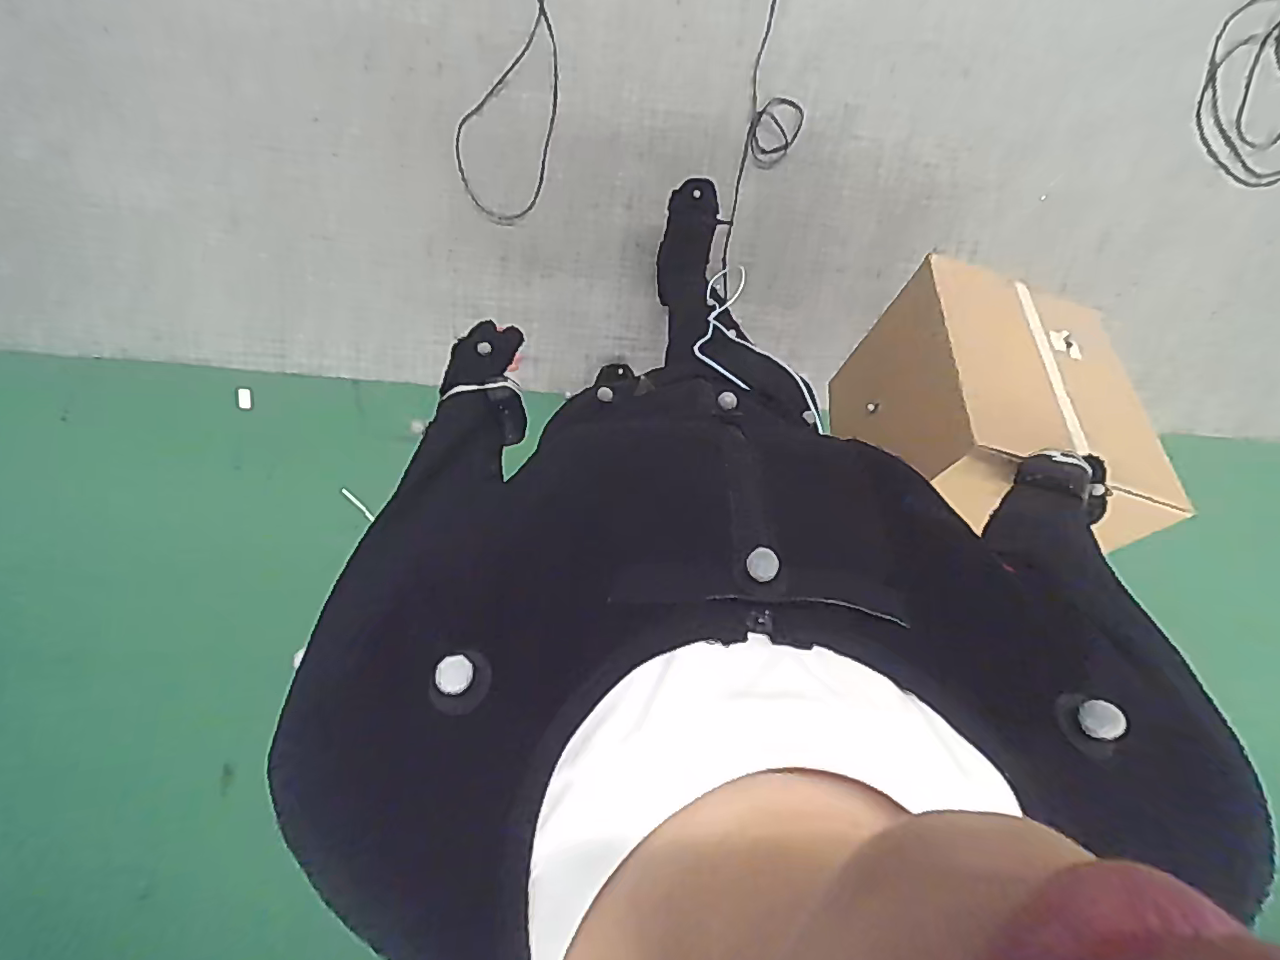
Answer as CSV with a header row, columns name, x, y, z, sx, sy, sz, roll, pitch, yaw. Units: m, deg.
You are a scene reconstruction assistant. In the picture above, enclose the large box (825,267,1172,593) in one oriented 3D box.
name,x,y,z,sx,sy,sz,roll,pitch,yaw
large box,0.534,-0.074,0.911,0.320,0.408,0.320,16,144,-6
